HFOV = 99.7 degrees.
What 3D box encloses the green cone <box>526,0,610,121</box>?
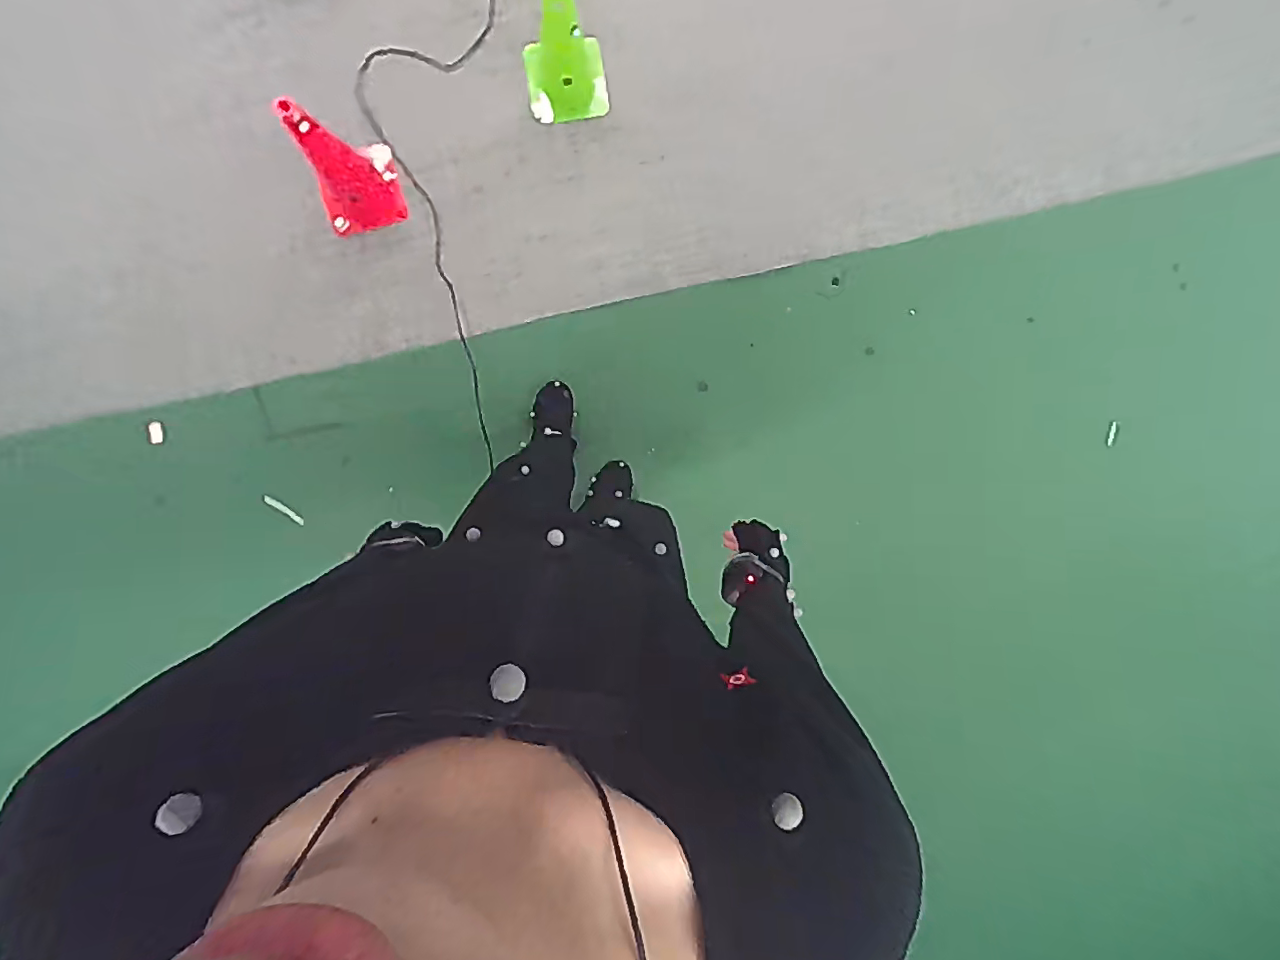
[{"bbox_3d":[-0.174,-1.051,1.254,0.200,0.368,0.202,-11,94,-4],"label":"green cone"}]
